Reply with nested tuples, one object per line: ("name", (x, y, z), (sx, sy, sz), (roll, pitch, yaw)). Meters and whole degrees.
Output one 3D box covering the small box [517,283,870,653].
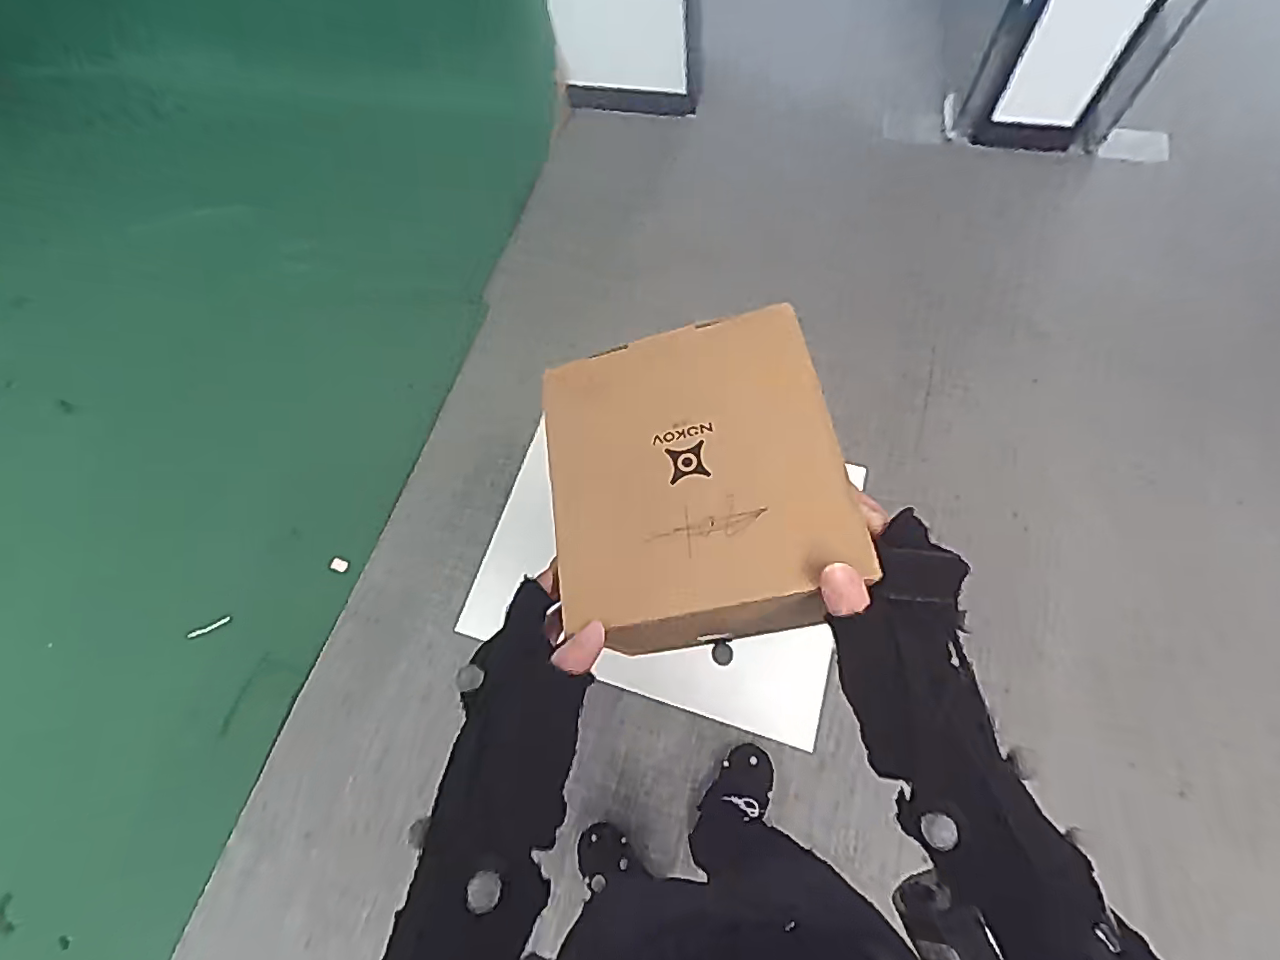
("small box", (0.032, 0.009, 0.364), (0.168, 0.176, 0.179), (-14, 67, 9))
